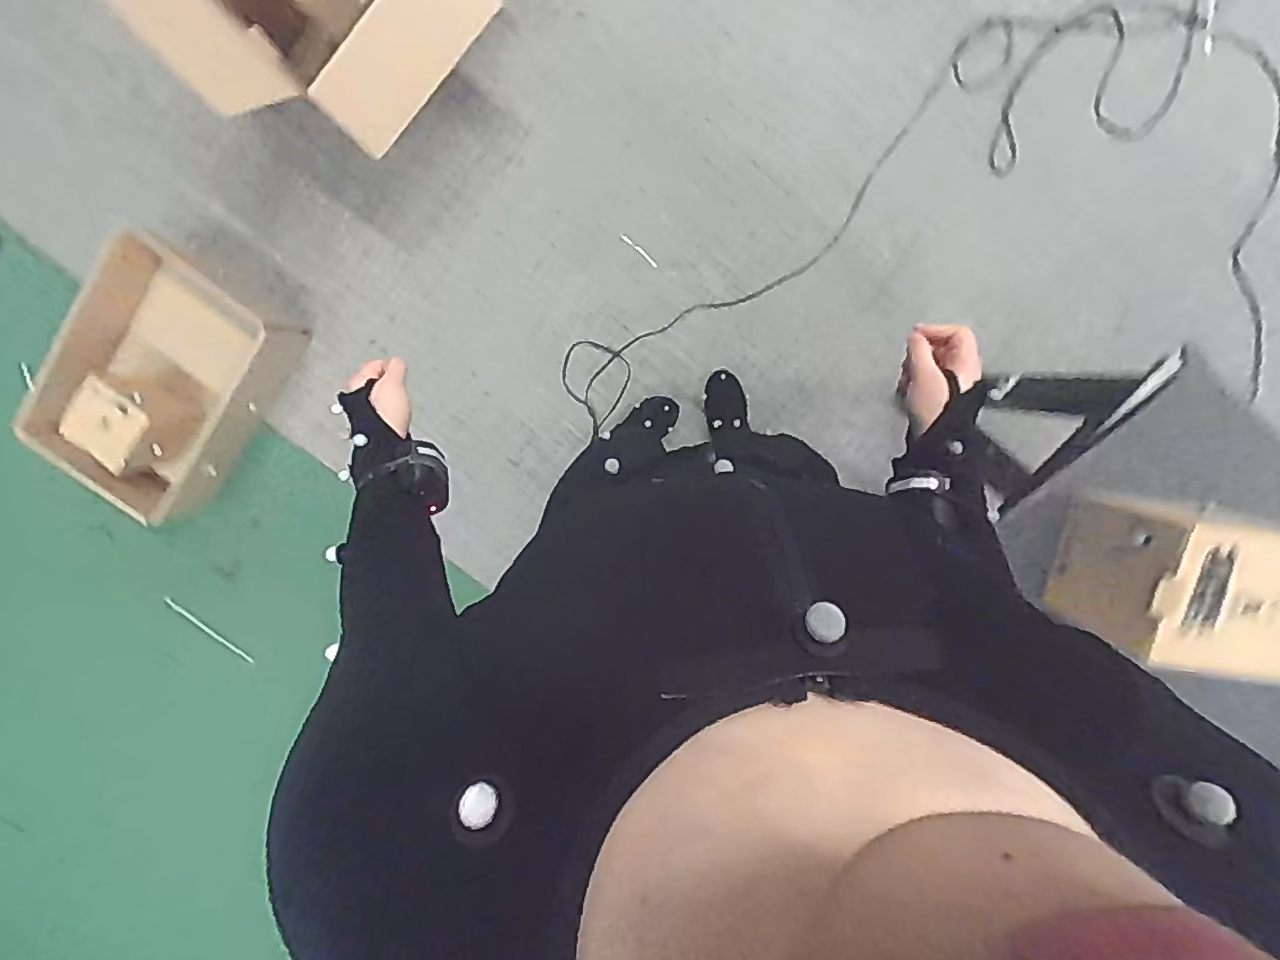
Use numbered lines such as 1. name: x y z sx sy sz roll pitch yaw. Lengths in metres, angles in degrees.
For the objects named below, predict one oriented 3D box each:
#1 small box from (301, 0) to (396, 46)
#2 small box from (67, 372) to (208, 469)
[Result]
1. small box: -0.611 -1.008 1.051 0.179 0.176 0.168 39 102 -5
2. small box: -1.263 -0.153 1.373 0.168 0.176 0.179 39 99 -4
